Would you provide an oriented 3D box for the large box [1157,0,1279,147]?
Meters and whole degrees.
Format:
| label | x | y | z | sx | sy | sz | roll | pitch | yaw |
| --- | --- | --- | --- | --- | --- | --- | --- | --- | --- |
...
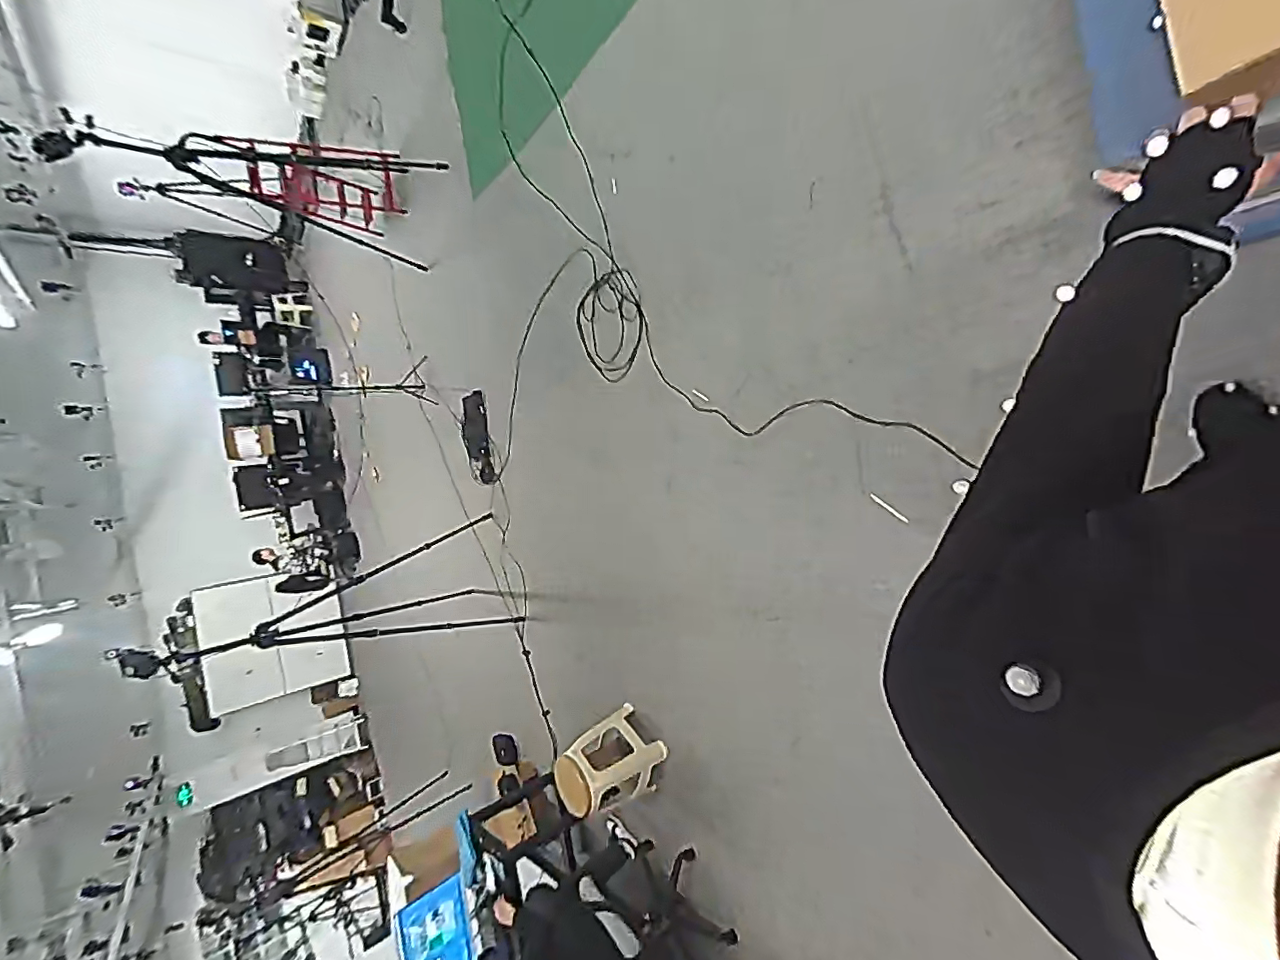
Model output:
| label | x | y | z | sx | sy | sz | roll | pitch | yaw |
| --- | --- | --- | --- | --- | --- | --- | --- | --- | --- |
| large box | 0.993 | -0.809 | 0.801 | 0.320 | 0.320 | 0.408 | -14 | 86 | 50 |
